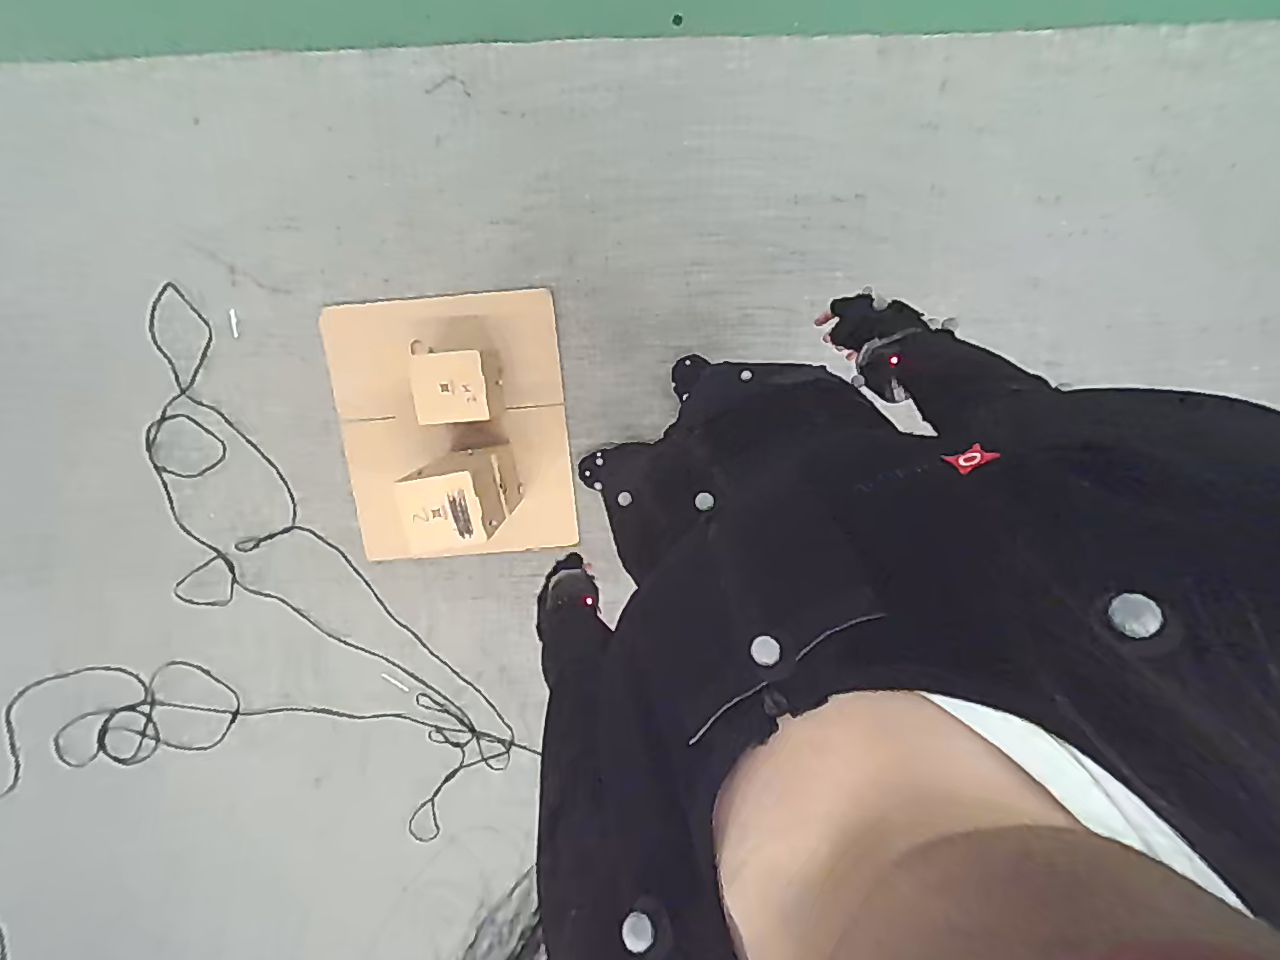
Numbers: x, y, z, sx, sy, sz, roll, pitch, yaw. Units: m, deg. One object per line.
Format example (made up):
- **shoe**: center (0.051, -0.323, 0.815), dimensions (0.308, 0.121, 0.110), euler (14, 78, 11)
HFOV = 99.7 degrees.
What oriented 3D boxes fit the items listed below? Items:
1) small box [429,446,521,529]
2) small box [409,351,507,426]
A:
- **small box**: center (-0.415, 0.013, 1.397), dimensions (0.179, 0.176, 0.168), euler (-8, 103, 3)
- **small box**: center (-0.444, -0.231, 1.345), dimensions (0.179, 0.176, 0.168), euler (-5, 104, 1)
